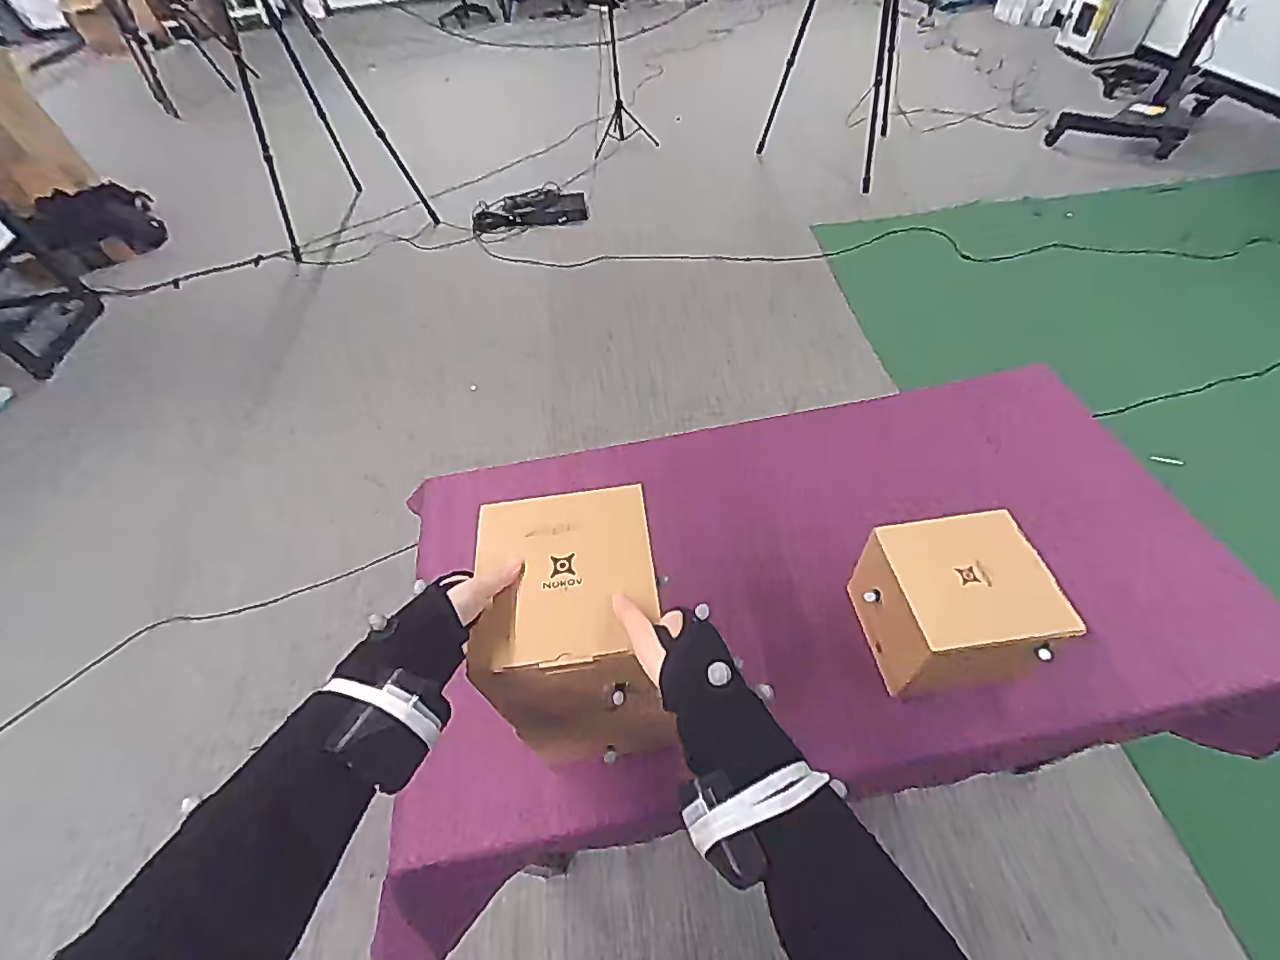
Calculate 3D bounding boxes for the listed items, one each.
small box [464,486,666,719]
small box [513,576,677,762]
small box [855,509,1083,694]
[{"bbox_3d":[-0.066,0.132,0.556,0.168,0.176,0.179,-7,50,0],"label":"small box"},{"bbox_3d":[-0.052,0.239,0.680,0.179,0.176,0.168,-8,51,-1],"label":"small box"},{"bbox_3d":[0.393,0.161,0.694,0.179,0.176,0.168,-8,51,-1],"label":"small box"}]
